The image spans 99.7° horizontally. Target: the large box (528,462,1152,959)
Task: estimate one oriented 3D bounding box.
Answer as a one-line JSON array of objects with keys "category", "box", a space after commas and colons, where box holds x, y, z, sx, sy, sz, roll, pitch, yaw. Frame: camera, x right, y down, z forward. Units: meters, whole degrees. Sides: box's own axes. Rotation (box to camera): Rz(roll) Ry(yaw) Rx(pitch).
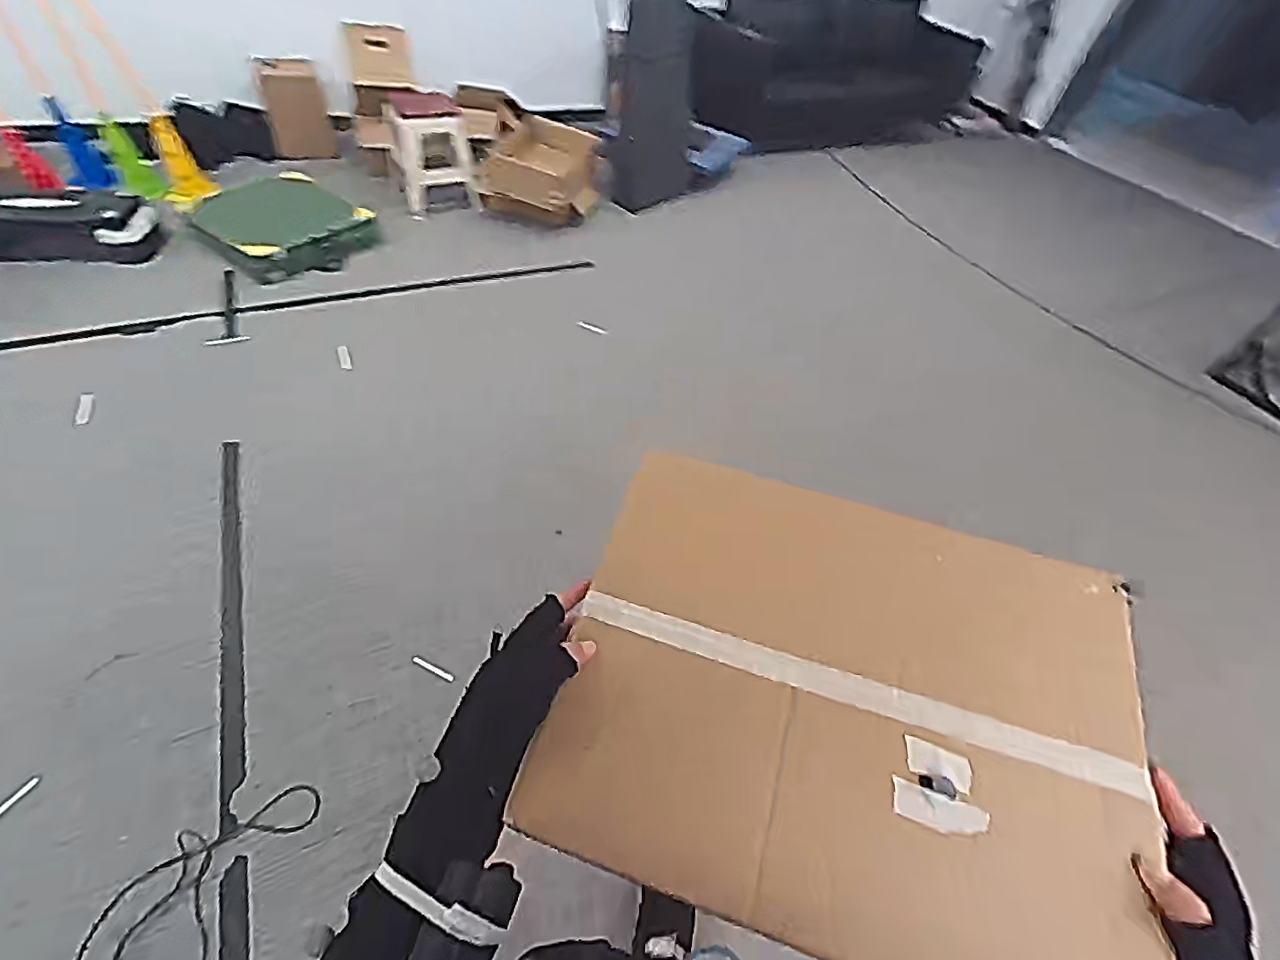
[{"category": "large box", "box": [0.153, 0.231, 0.538, 0.408, 0.320, 0.320, 16, 61, 9]}]
